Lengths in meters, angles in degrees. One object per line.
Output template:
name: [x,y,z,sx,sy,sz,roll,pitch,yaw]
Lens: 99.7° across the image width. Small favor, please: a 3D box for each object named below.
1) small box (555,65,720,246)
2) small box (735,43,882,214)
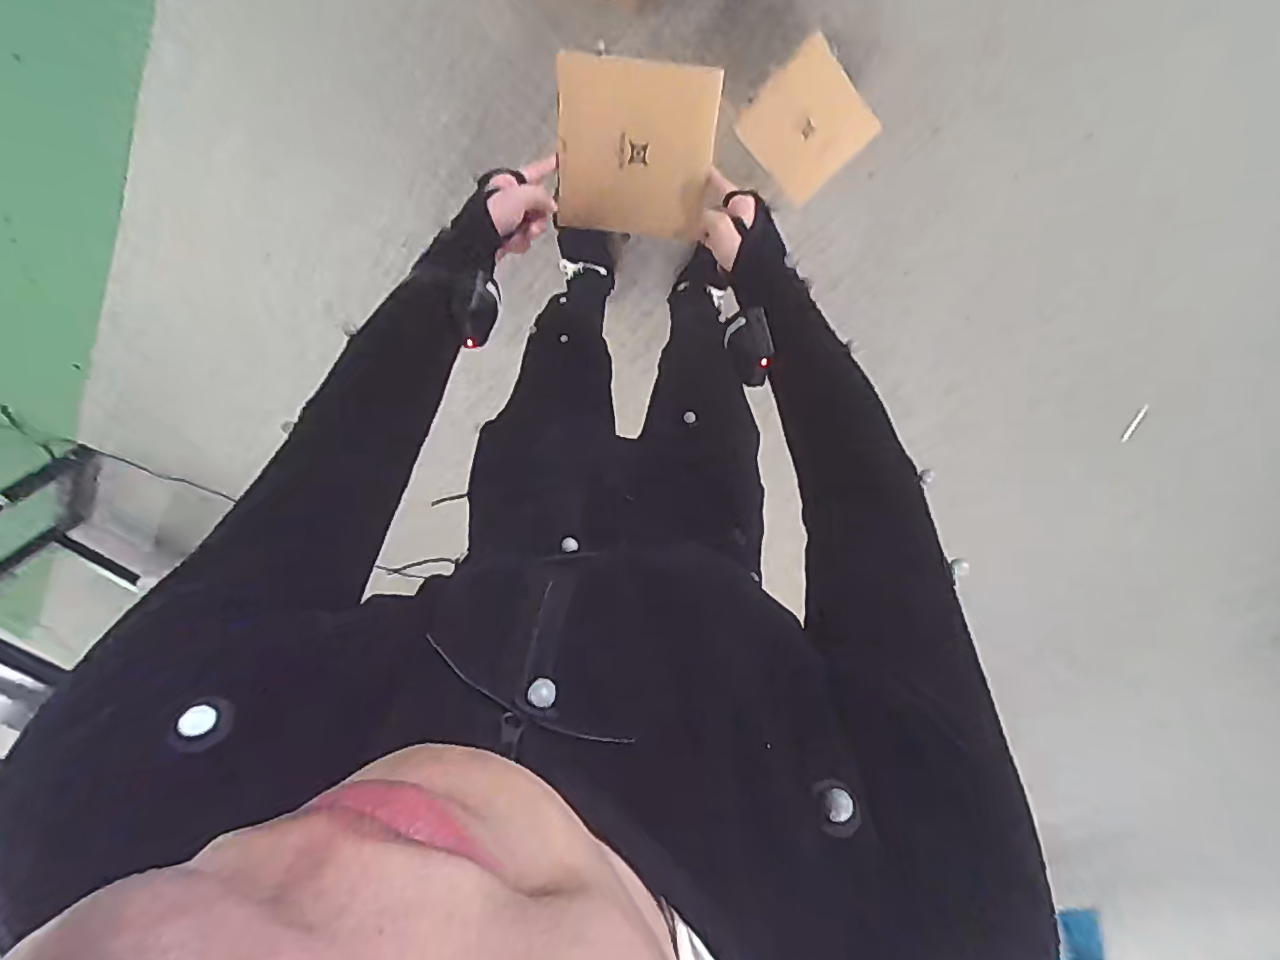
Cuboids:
small box: [-0.002,-0.398,0.670,0.179,0.176,0.168,6,122,3]
small box: [0.280,-0.598,0.931,0.179,0.176,0.168,41,123,-19]
